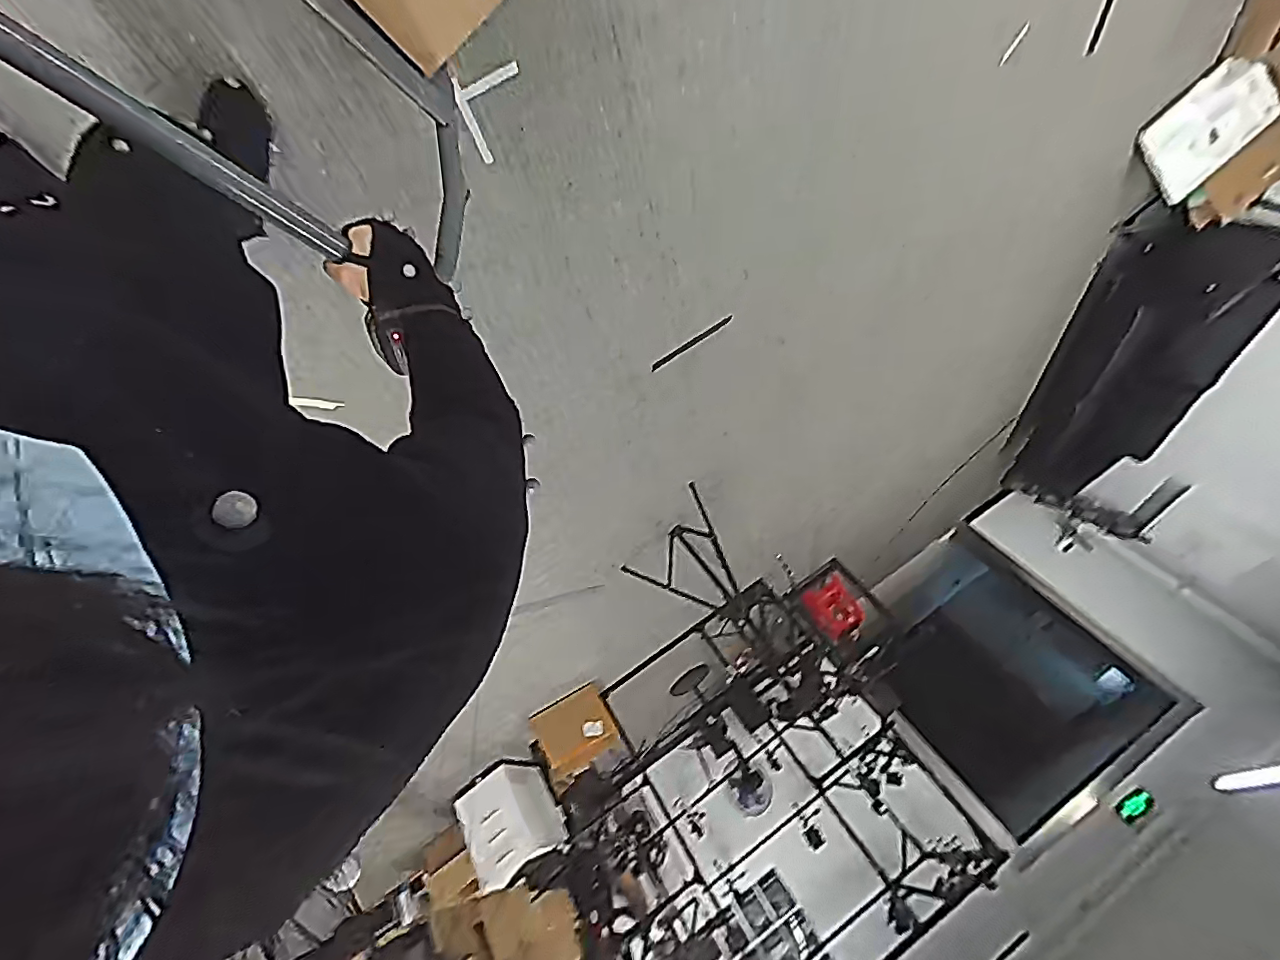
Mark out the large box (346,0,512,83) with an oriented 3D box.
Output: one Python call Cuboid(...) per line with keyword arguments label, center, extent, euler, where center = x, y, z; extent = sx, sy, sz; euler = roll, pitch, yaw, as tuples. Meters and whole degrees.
Cuboid(label="large box", center=(-0.319, -0.807, 0.617), extent=(0.320, 0.320, 0.408), euler=(-29, 152, 22))
